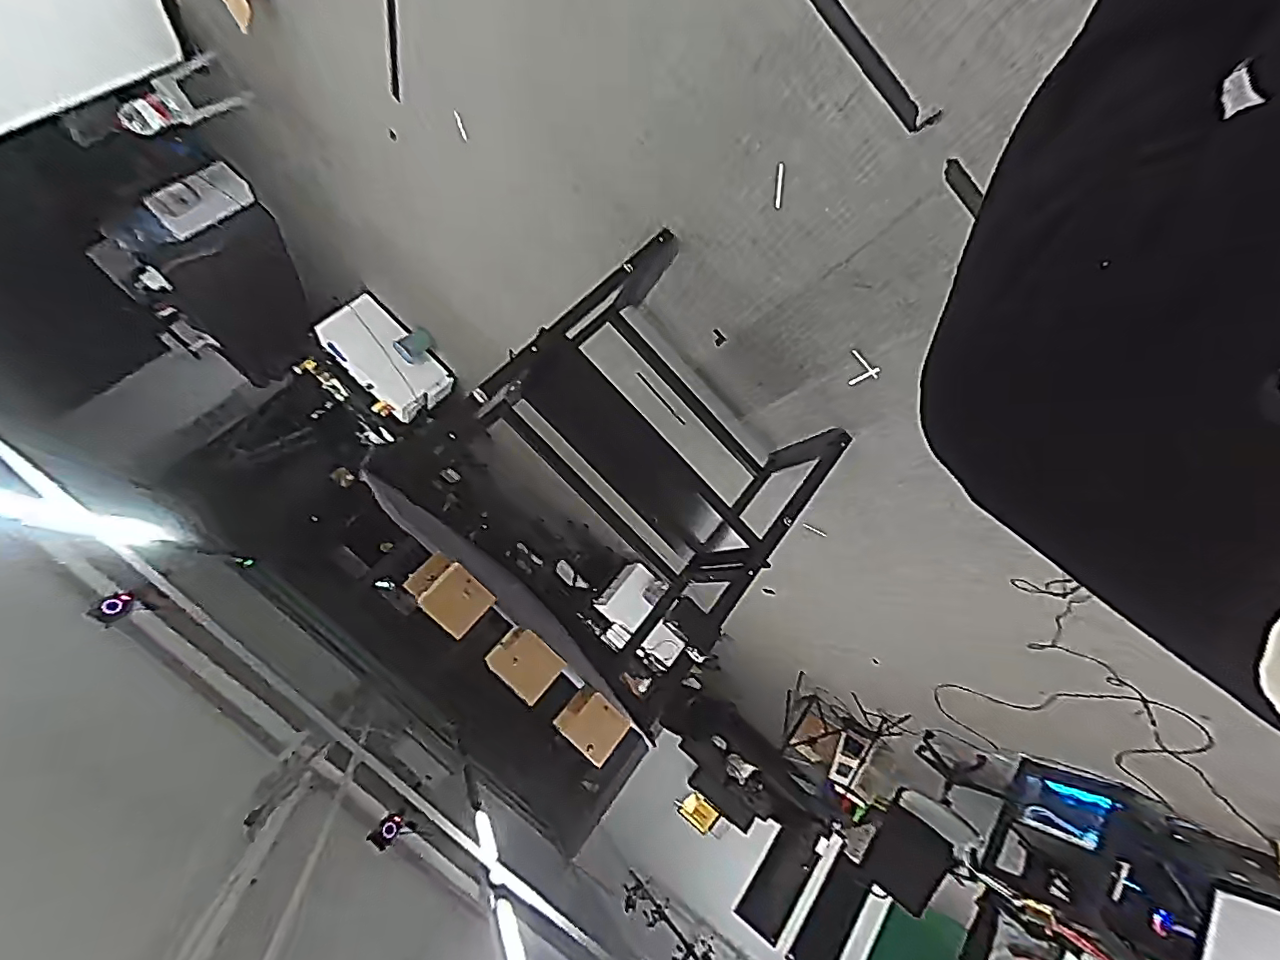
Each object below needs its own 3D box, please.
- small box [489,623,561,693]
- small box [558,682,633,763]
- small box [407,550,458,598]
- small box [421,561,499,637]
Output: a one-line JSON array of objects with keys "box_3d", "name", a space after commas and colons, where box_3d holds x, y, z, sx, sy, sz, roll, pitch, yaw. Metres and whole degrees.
[{"box_3d": [-0.423, 0.645, 1.988, 0.179, 0.176, 0.168, 45, 157, -9], "name": "small box"}, {"box_3d": [-0.147, 0.802, 1.813, 0.168, 0.176, 0.179, 45, 158, -6], "name": "small box"}, {"box_3d": [-0.703, 0.365, 1.927, 0.168, 0.176, 0.179, 46, 157, -6], "name": "small box"}, {"box_3d": [-0.577, 0.376, 1.738, 0.168, 0.176, 0.179, 46, 159, -12], "name": "small box"}]
